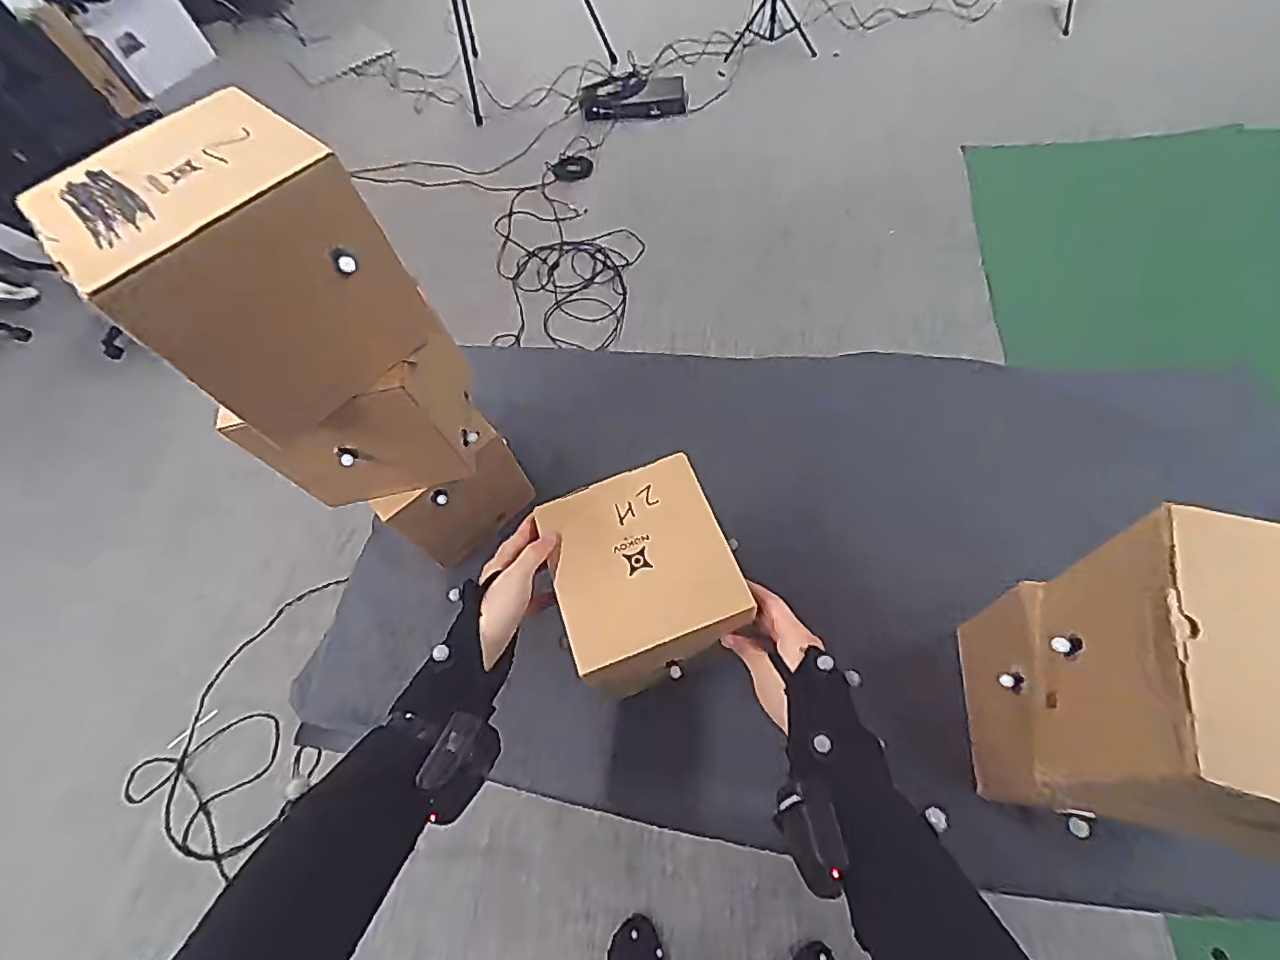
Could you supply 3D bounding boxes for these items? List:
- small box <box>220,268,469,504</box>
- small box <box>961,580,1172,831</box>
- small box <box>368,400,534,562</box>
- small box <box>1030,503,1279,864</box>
[{"bbox_3d":[-0.298,-0.093,0.592,0.179,0.176,0.168,-13,61,2],"label":"small box"},{"bbox_3d":[0.418,0.209,0.496,0.168,0.176,0.179,3,61,12],"label":"small box"},{"bbox_3d":[-0.274,-0.018,0.736,0.168,0.176,0.179,-41,63,-13],"label":"small box"},{"bbox_3d":[0.393,0.140,0.351,0.179,0.176,0.168,13,63,17],"label":"small box"}]
